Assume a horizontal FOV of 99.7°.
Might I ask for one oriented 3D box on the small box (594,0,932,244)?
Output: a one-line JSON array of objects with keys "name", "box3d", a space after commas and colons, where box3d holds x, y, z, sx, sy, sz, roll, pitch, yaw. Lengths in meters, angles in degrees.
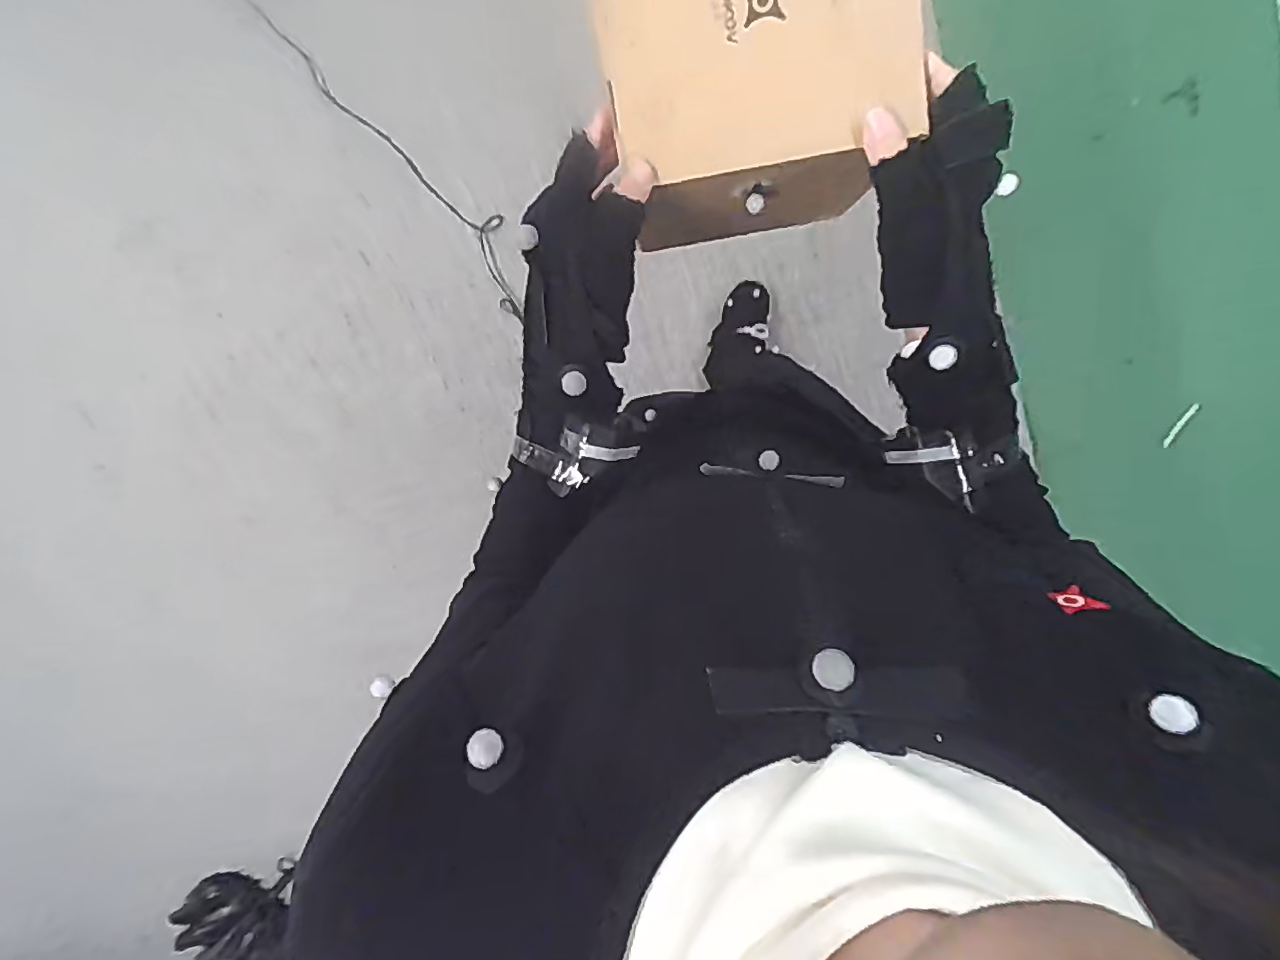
[{"name": "small box", "box3d": [0.068, -0.277, 0.370, 0.179, 0.176, 0.168, -10, 101, 4]}]
